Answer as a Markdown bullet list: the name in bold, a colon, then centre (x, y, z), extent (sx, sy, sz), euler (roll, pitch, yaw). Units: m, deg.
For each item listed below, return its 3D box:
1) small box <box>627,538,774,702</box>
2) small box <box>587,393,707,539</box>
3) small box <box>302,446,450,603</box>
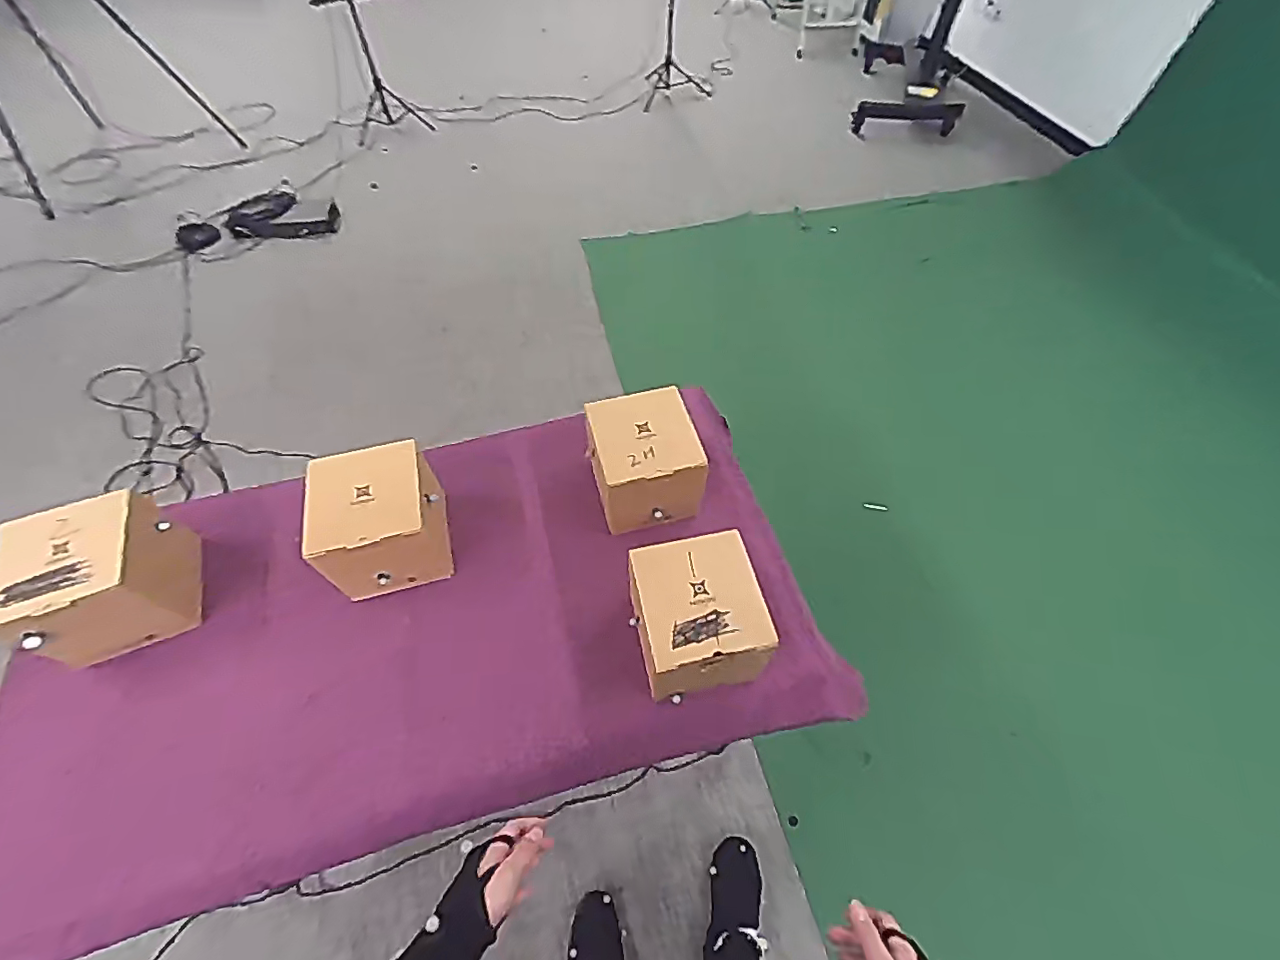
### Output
- **small box**: centre (0.079, 0.212, 0.793), extent (0.168, 0.176, 0.179), euler (-10, 55, -7)
- **small box**: centre (0.005, -0.022, 0.950), extent (0.168, 0.176, 0.179), euler (-13, 58, -9)
- **small box**: centre (-0.419, 0.074, 0.878), extent (0.168, 0.176, 0.179), euler (-13, 59, -10)
